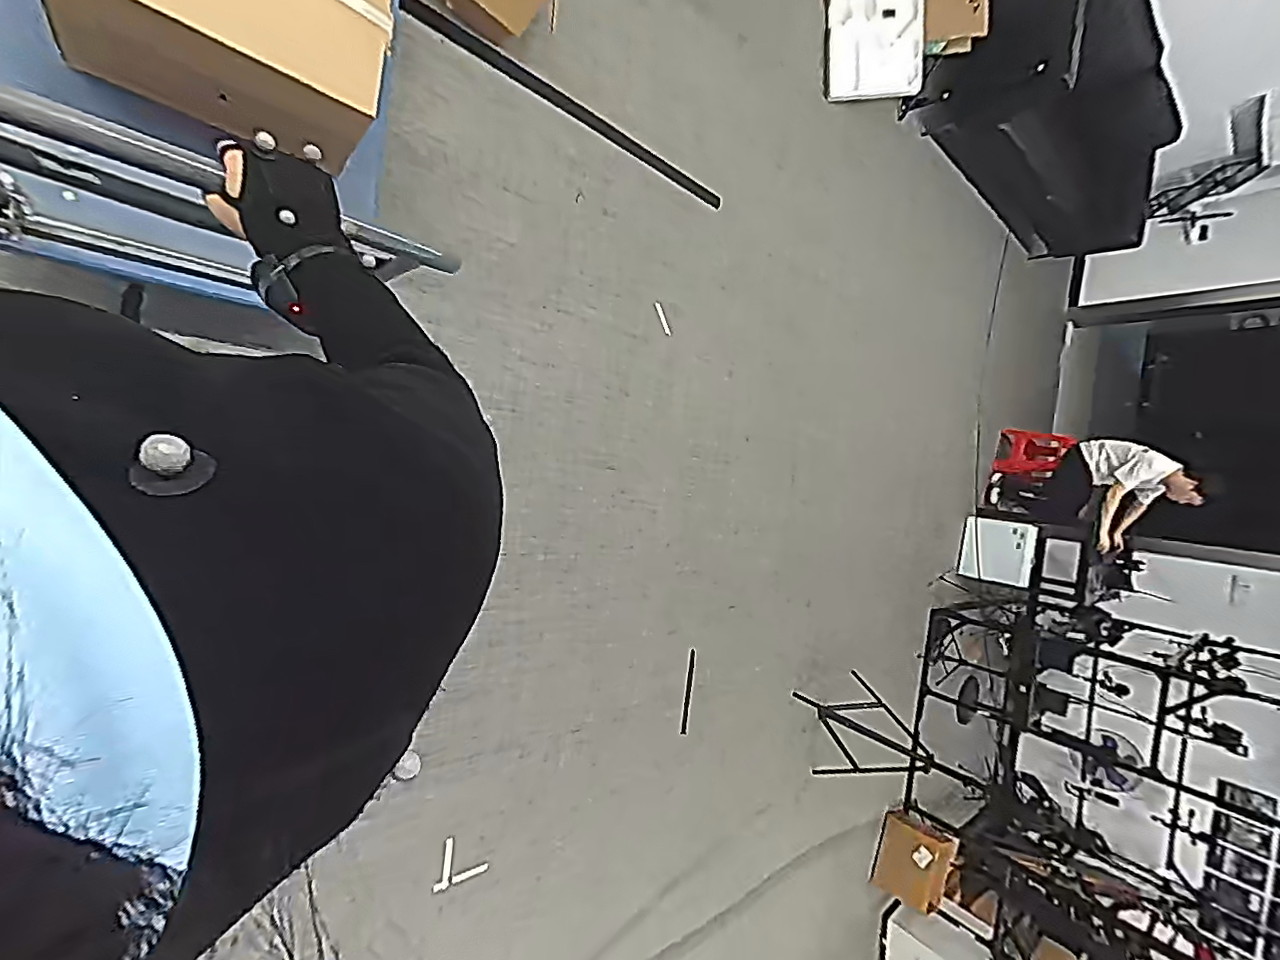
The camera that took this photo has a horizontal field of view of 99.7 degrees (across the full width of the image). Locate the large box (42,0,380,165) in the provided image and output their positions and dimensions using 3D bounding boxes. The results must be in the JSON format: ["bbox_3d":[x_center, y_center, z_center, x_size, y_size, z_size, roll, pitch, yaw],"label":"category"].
[{"bbox_3d":[-0.691,-0.812,0.908,0.408,0.320,0.320,7,91,-40],"label":"large box"}]
